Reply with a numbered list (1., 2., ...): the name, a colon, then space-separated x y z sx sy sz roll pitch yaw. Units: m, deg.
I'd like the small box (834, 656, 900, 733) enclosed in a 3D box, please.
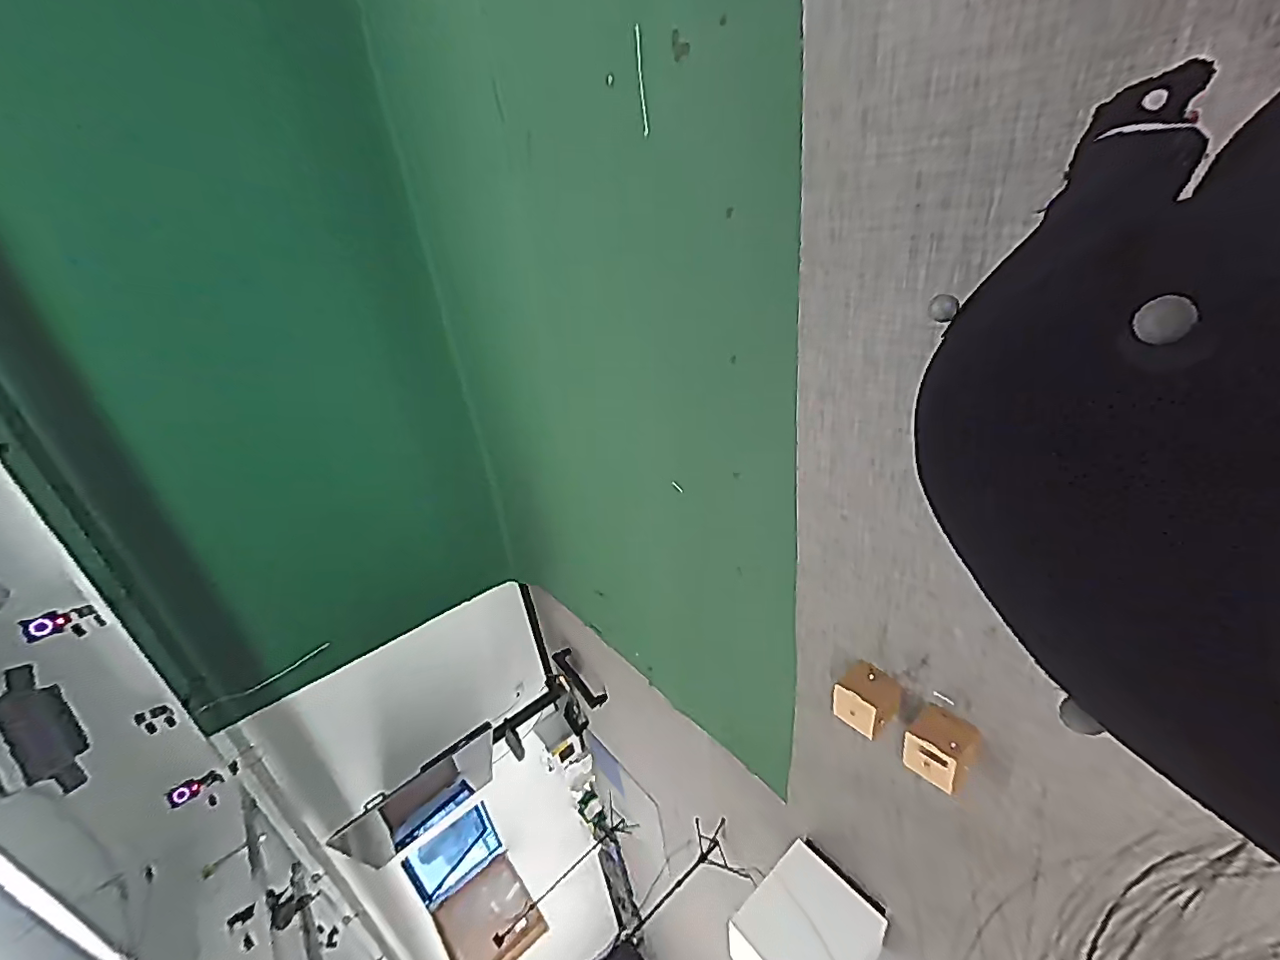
1. small box: 0.866 0.812 2.060 0.168 0.176 0.179 26 132 45
